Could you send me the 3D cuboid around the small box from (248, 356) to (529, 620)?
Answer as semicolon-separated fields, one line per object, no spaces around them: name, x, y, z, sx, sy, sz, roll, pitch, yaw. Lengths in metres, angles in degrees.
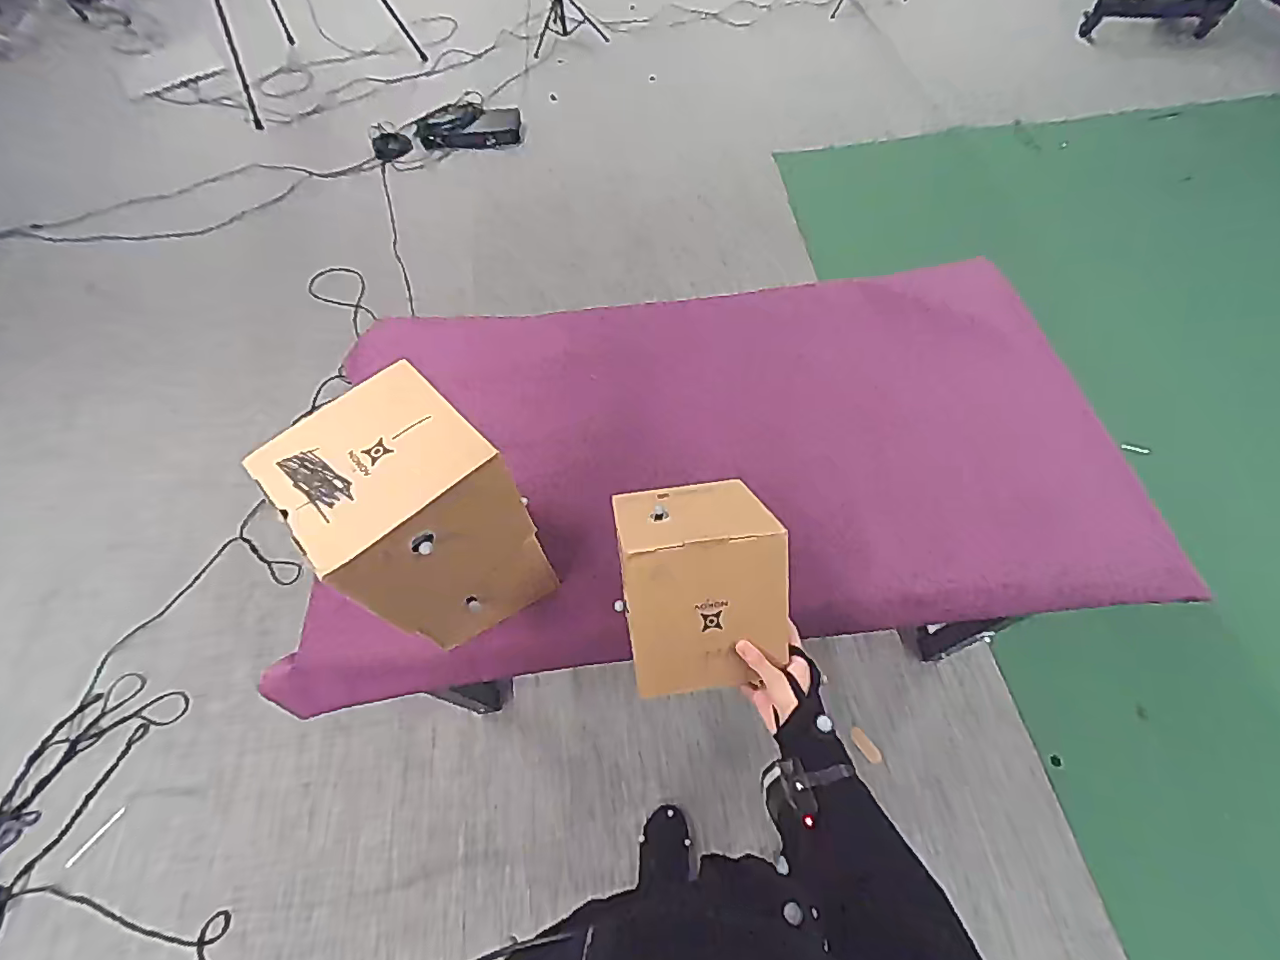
small box;-0.240;0.015;0.558;0.179;0.176;0.168;-39;65;-19

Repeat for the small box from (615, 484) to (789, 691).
small box;0.062;0.111;0.630;0.168;0.179;0.176;-6;19;-5

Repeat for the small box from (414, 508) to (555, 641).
small box;-0.233;0.085;0.708;0.179;0.176;0.168;-29;62;-13
